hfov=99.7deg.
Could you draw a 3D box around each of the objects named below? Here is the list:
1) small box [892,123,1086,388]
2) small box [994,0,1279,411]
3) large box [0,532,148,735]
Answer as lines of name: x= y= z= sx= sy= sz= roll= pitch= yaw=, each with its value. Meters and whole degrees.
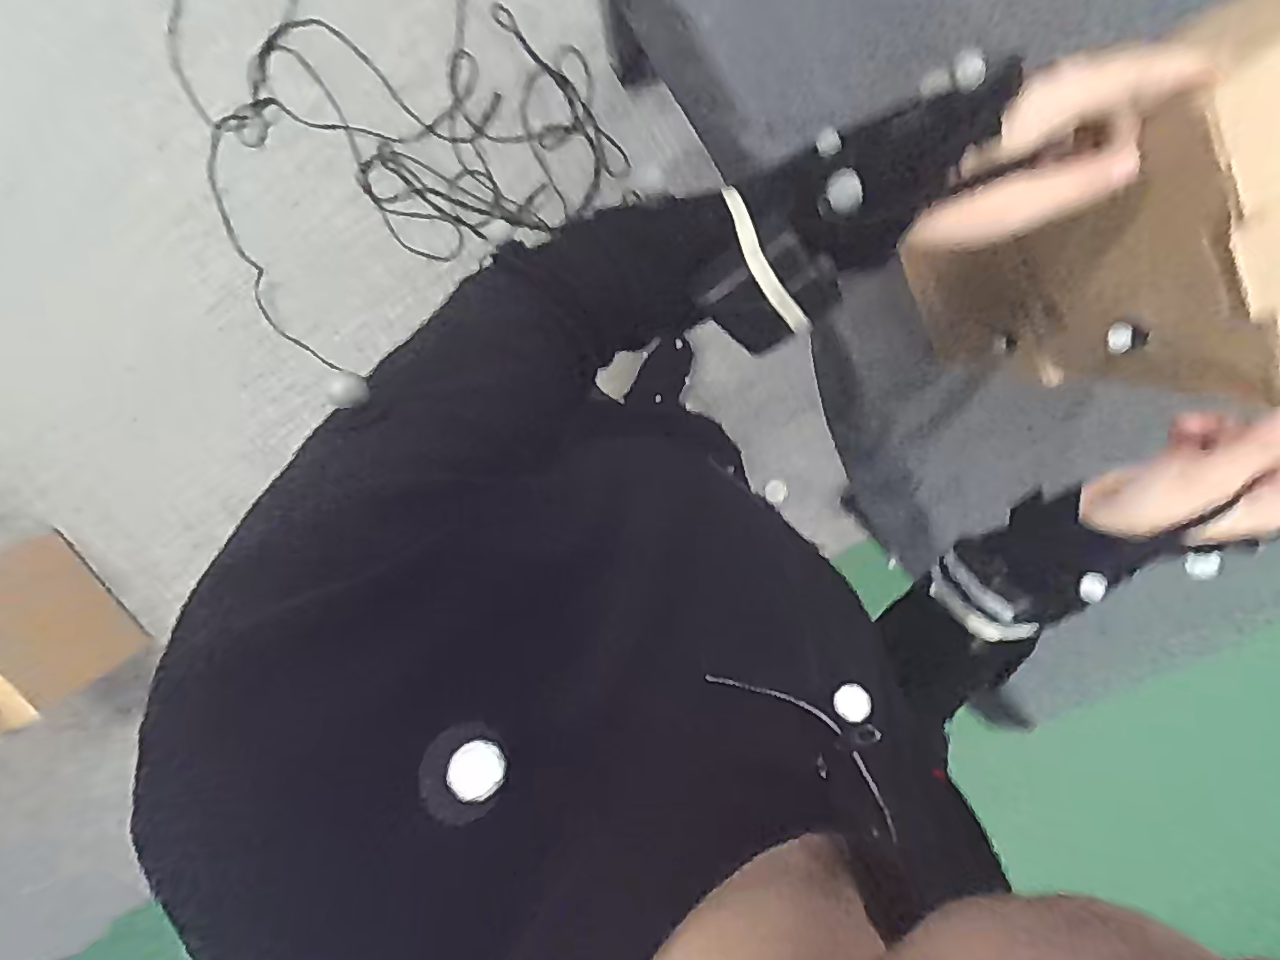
small box: x=0.352 y=-0.201 z=0.468 sx=0.168 sy=0.176 sz=0.179 roll=-28 pitch=105 yaw=8
small box: x=0.347 y=-0.163 z=0.310 sx=0.179 sy=0.176 sz=0.168 roll=-34 pitch=105 yaw=9
large box: x=-1.627 y=0.408 z=1.383 sx=0.320 sy=0.320 sz=0.408 roll=-25 pitch=104 yaw=8
